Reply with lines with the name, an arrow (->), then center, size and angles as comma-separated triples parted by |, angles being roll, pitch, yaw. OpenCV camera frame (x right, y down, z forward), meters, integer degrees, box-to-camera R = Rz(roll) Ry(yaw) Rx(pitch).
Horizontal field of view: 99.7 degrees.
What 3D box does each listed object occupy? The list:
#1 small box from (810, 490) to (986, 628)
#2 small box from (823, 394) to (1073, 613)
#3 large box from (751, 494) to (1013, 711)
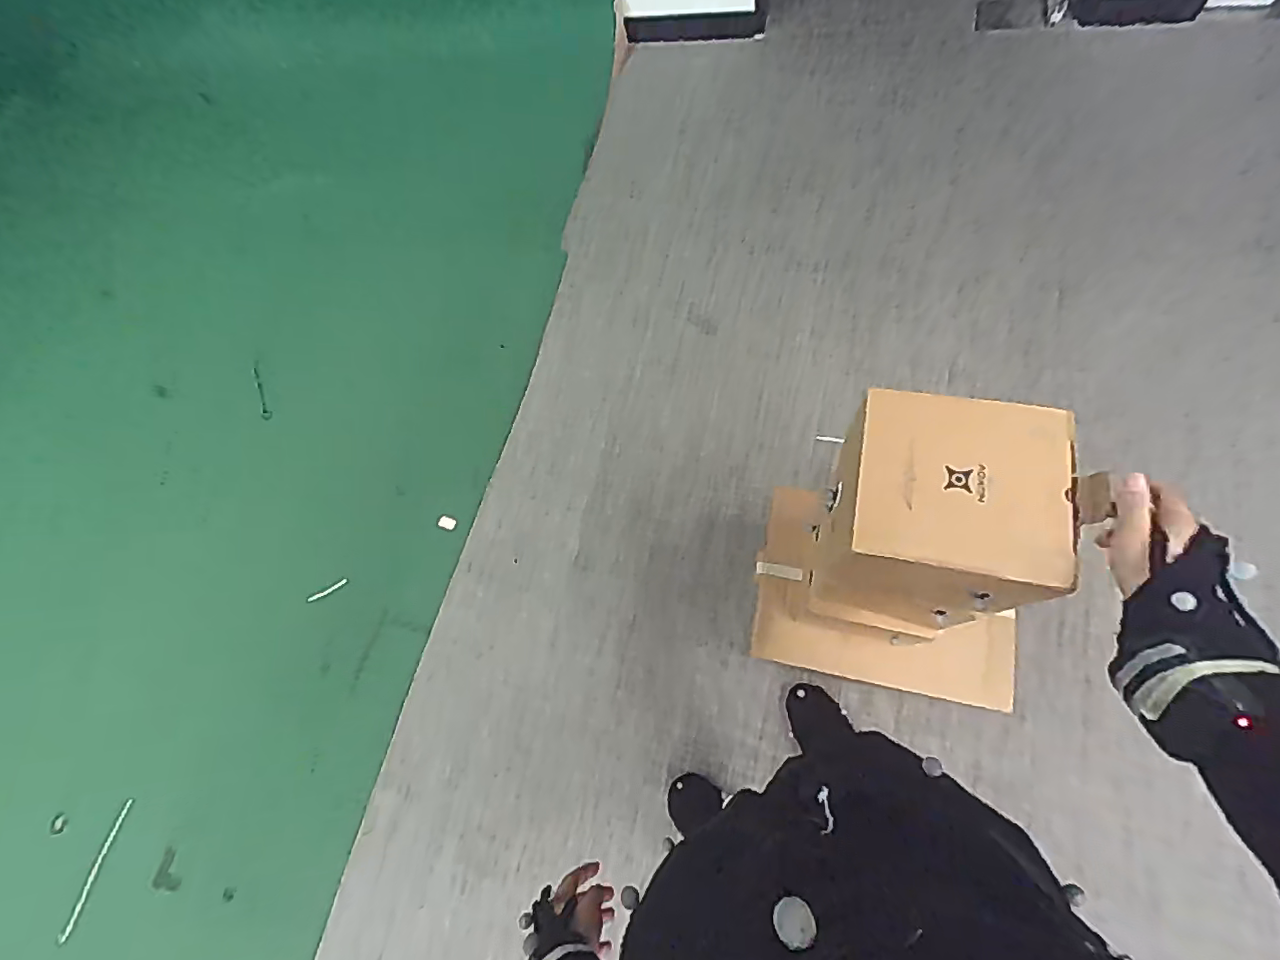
small box -> 0.328, 0.087, 0.701 | 0.179, 0.176, 0.168 | 13, 73, 15
small box -> 0.296, 0.033, 0.551 | 0.179, 0.176, 0.168 | 8, 71, 14
large box -> 0.439, 0.242, 1.063 | 0.408, 0.320, 0.320 | 8, 73, 13
